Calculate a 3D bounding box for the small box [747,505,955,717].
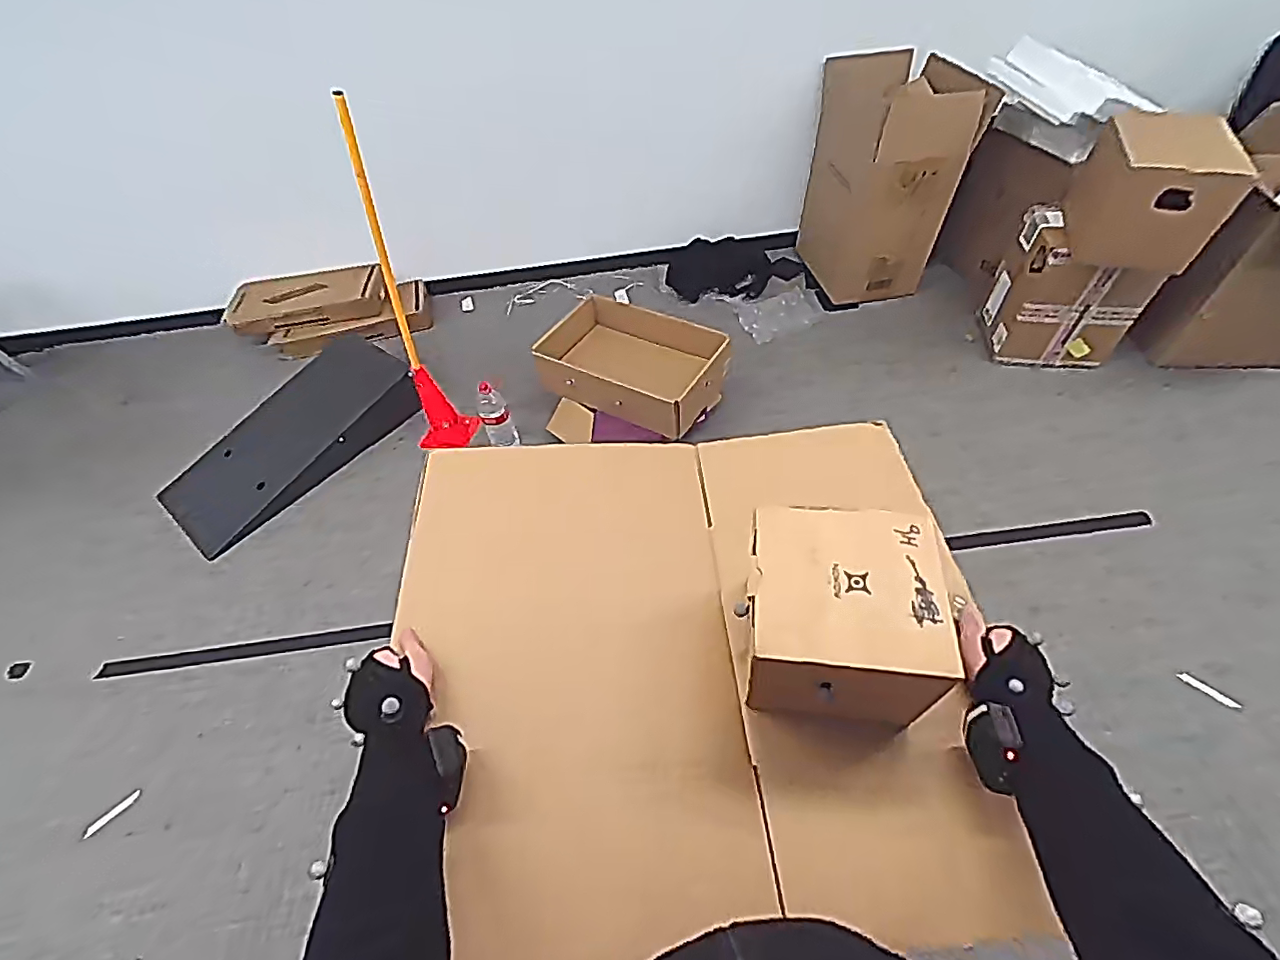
[{"bbox_3d":[0.207,0.143,0.583,0.179,0.176,0.168,2,54,11],"label":"small box"}]
